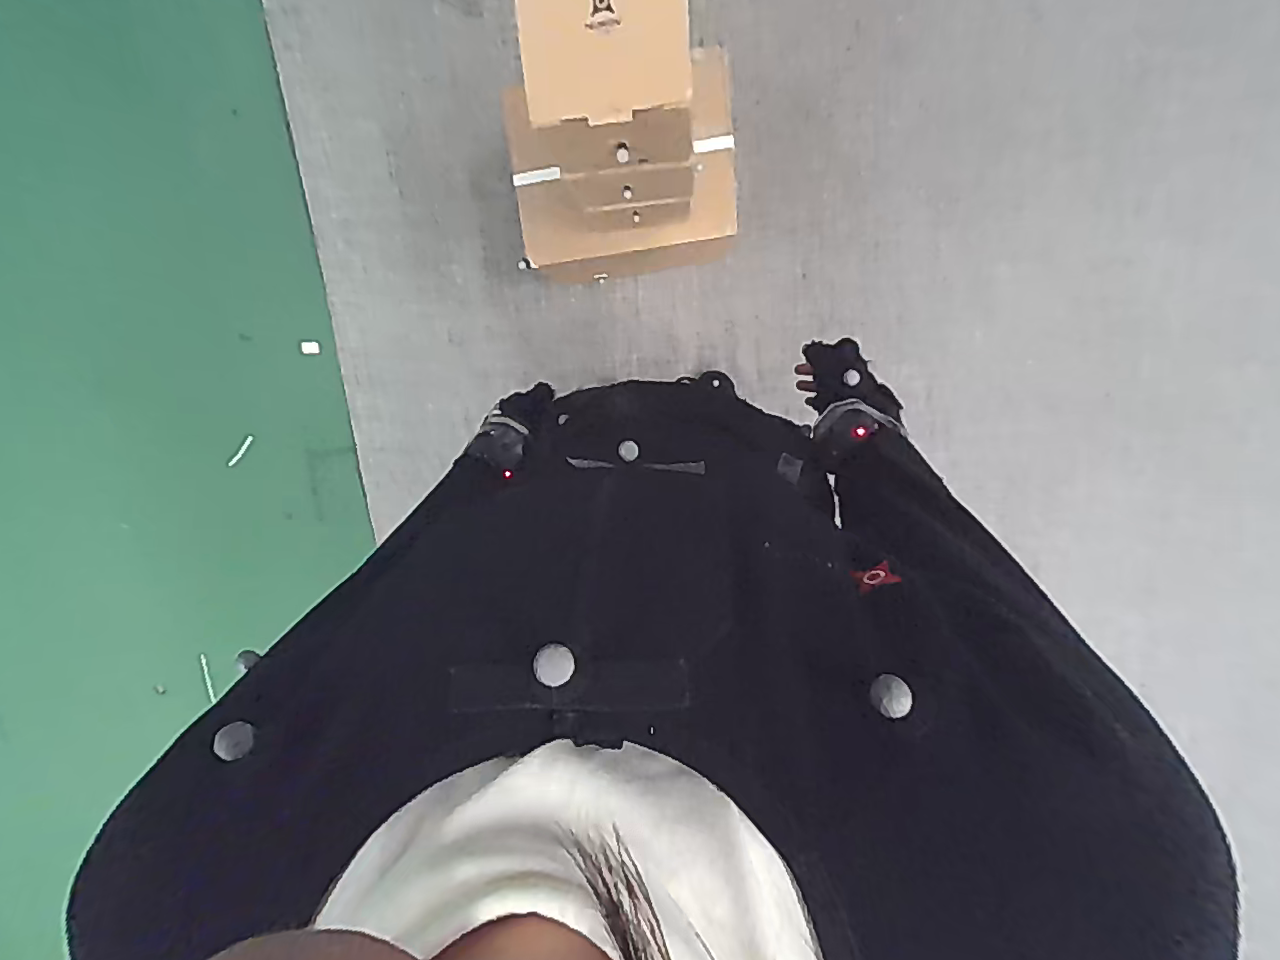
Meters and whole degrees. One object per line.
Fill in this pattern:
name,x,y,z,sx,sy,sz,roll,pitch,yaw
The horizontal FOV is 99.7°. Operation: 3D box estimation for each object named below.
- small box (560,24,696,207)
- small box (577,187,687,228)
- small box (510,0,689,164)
small box,-0.019,-0.494,0.751,0.179,0.176,0.168,-6,105,6
small box,-0.012,-0.533,0.910,0.179,0.176,0.168,-4,105,5
small box,-0.034,-0.463,0.590,0.168,0.176,0.179,-2,105,7
